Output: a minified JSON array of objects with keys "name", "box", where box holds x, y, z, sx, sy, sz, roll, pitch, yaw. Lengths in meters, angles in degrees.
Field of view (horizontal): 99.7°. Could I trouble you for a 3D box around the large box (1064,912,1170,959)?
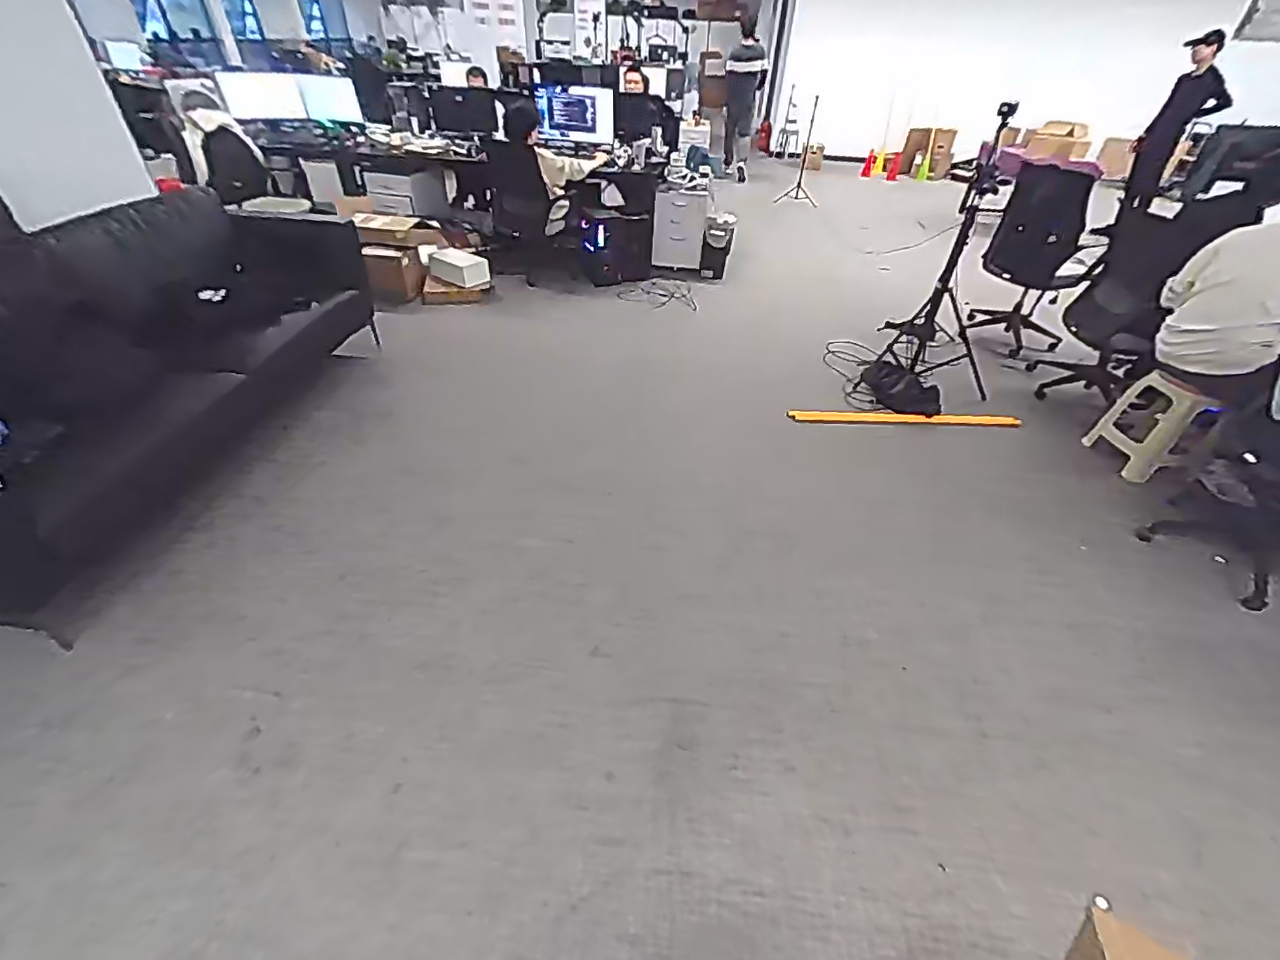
[{"name":"large box","box":[0.544,0.728,0.478,0.320,0.320,0.408,26,4,35]}]
